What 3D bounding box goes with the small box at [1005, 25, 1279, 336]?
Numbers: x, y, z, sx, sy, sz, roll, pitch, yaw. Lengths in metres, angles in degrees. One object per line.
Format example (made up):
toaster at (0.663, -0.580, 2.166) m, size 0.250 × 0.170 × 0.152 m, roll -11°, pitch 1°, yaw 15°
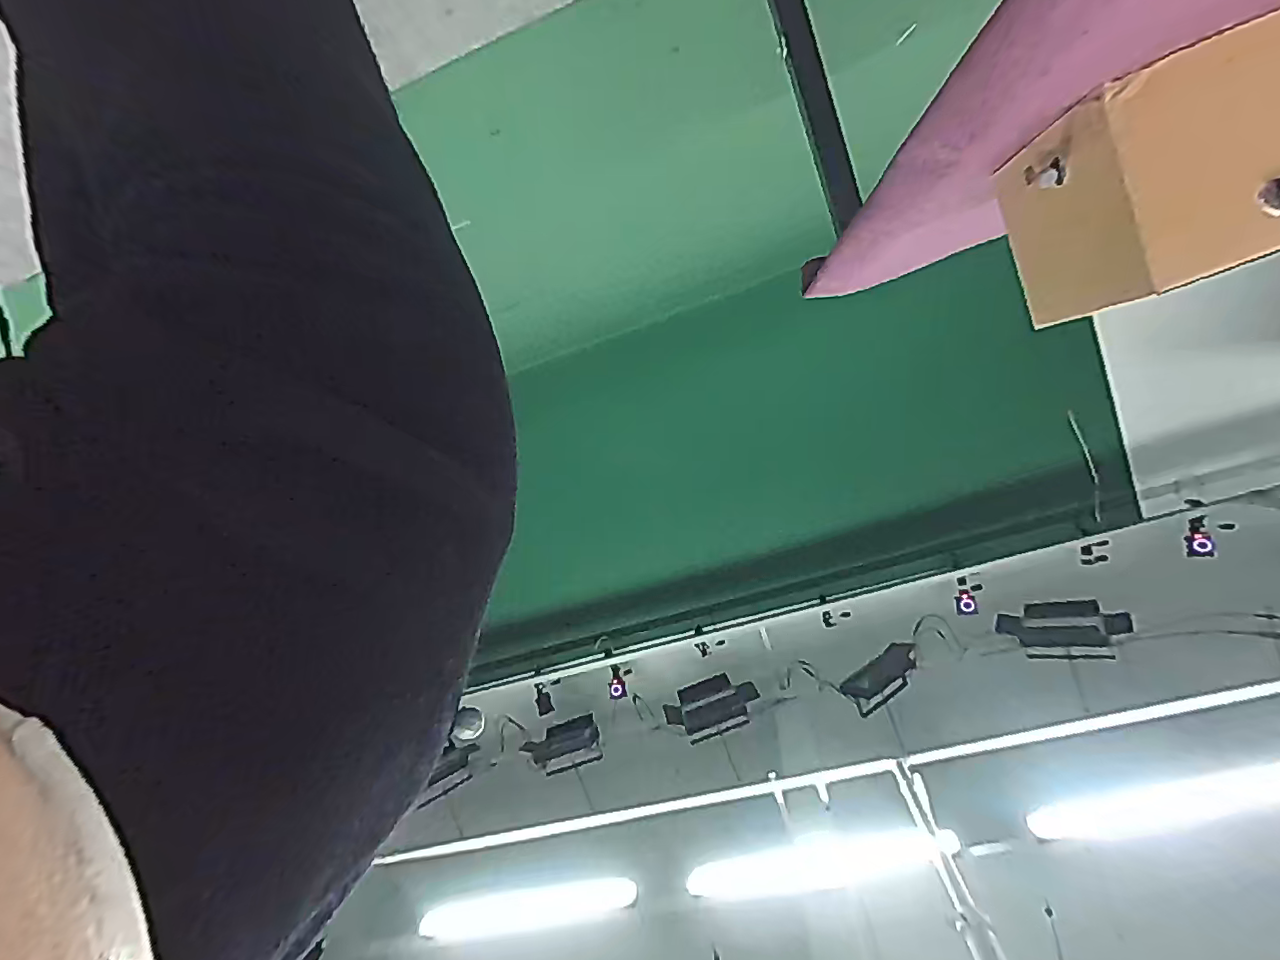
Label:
small box at (0.458, -0.243, 0.458) m, size 0.179 × 0.176 × 0.168 m, roll -18°, pitch -176°, yaw 10°
